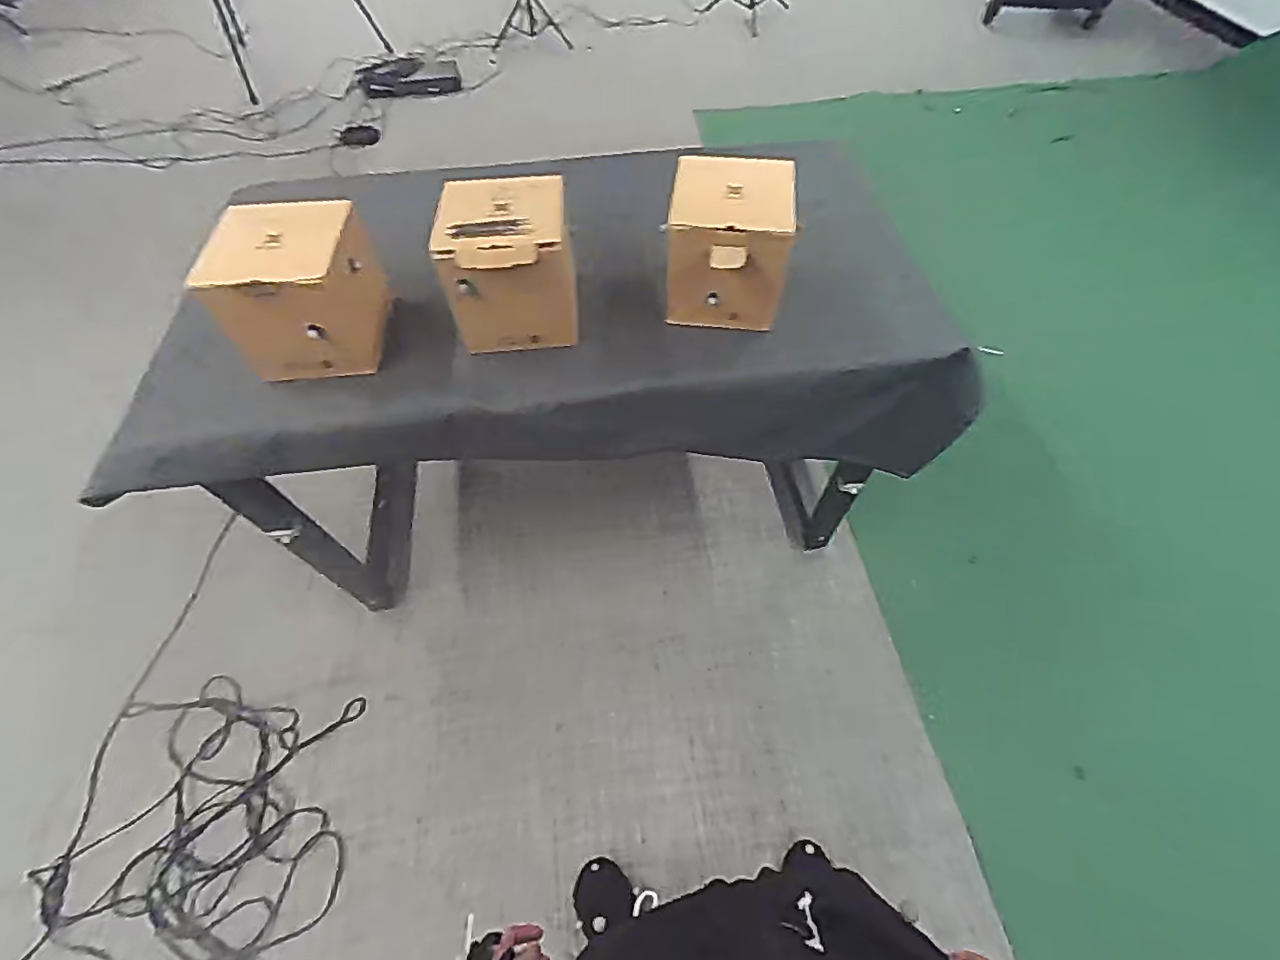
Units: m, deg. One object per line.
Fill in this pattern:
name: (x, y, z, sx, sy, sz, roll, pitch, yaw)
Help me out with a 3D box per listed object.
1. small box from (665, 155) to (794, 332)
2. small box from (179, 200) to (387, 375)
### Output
small box: (0.127, -0.350, 0.807, 0.168, 0.176, 0.179, 6, 58, 4)
small box: (-0.477, -0.262, 0.759, 0.168, 0.176, 0.179, -4, 56, -4)
